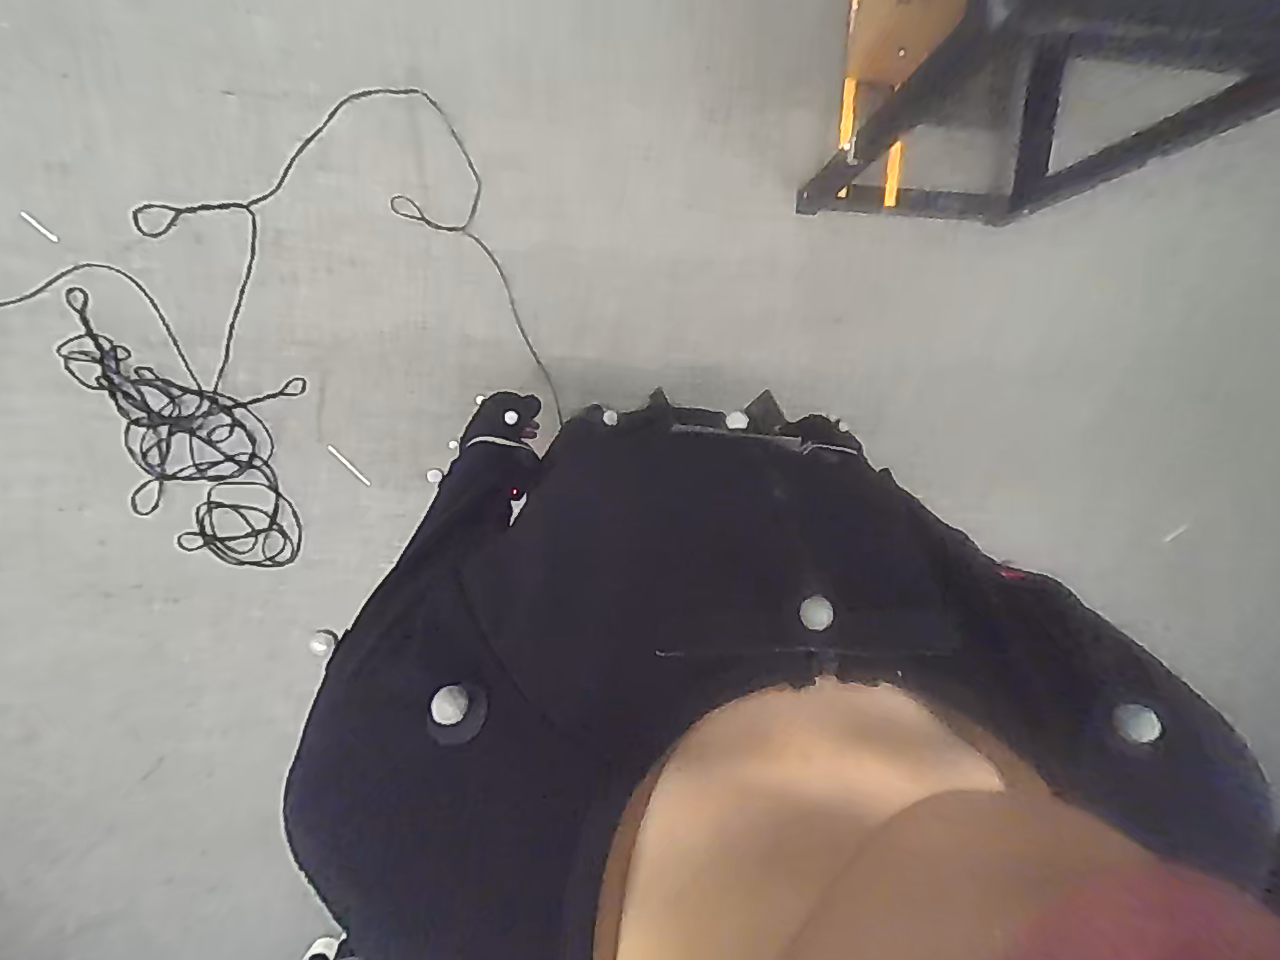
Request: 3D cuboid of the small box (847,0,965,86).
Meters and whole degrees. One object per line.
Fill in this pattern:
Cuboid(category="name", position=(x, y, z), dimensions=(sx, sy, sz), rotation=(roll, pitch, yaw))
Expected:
Cuboid(category="small box", position=(0.579, -1.006, 1.185), dimensions=(0.179, 0.176, 0.168), rotation=(5, 98, -5))
